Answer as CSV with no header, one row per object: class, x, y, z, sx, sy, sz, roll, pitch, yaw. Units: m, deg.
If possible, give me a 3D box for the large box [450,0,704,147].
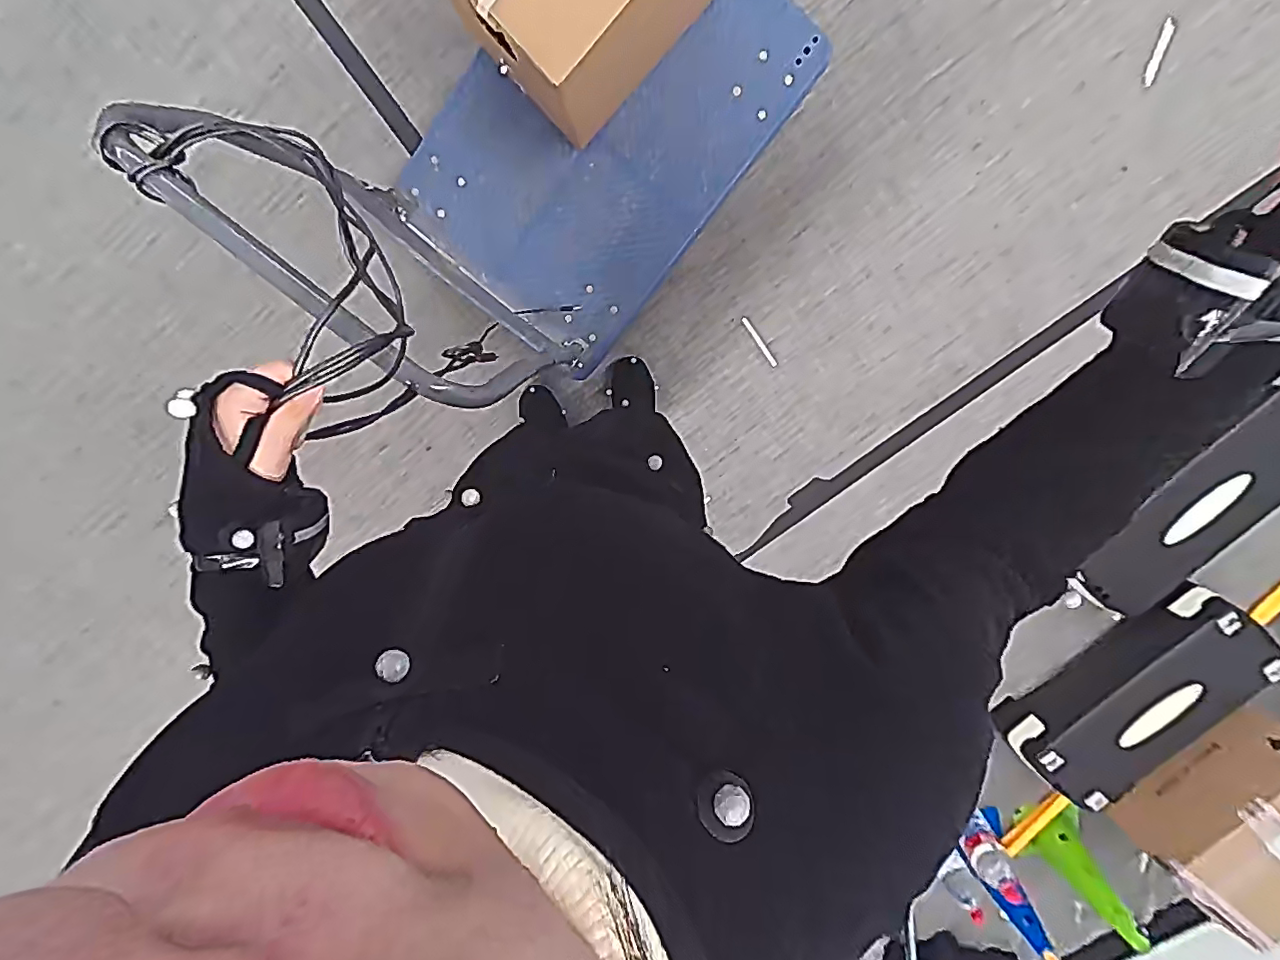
large box,-0.099,-0.898,0.935,0.320,0.320,0.408,43,101,-10
